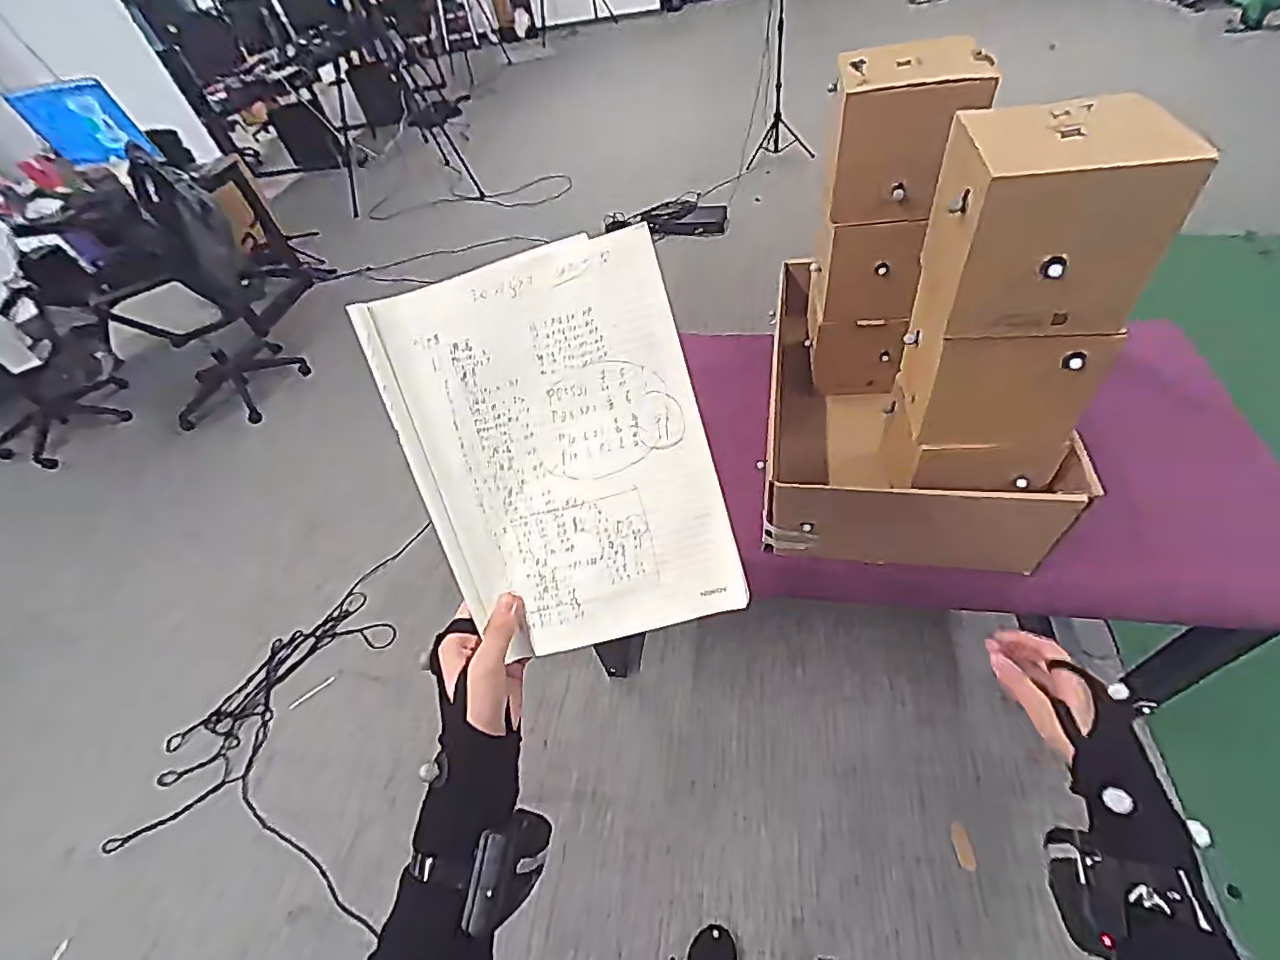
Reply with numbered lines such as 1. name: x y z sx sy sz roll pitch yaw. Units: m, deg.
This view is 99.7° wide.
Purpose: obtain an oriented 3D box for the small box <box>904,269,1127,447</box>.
1. small box: 0.445 -0.156 0.683 0.179 0.176 0.168 3 49 14

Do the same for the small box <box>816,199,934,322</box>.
1. small box: 0.394 -0.377 0.888 0.179 0.176 0.168 1 51 12

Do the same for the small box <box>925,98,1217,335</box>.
1. small box: 0.414 -0.266 0.563 0.168 0.176 0.179 3 48 13

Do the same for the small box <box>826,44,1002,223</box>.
1. small box: 0.369 -0.484 0.766 0.179 0.176 0.168 3 51 12
